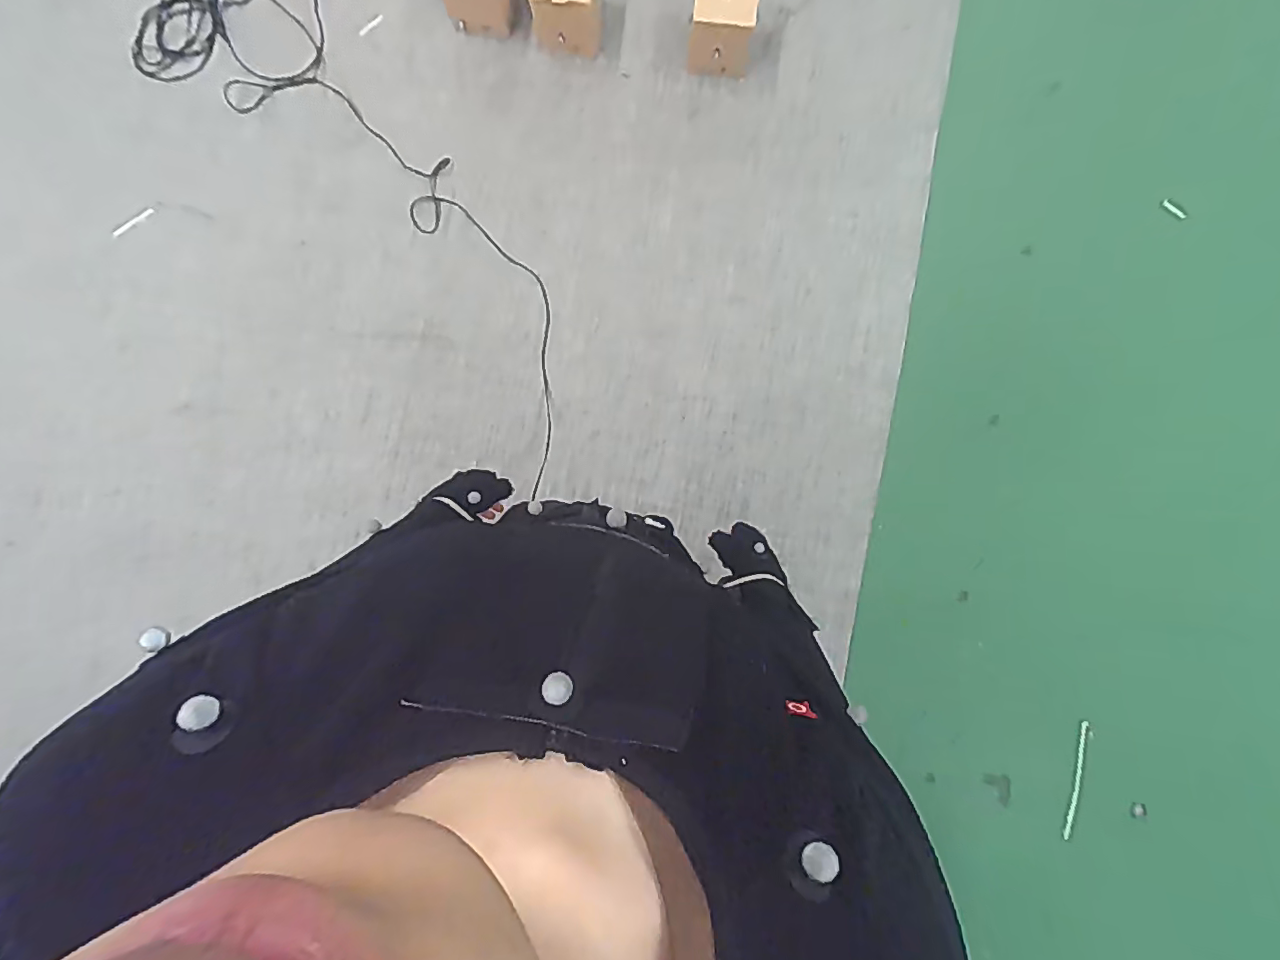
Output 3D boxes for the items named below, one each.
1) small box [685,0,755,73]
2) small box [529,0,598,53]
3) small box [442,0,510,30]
[{"bbox_3d":[0.217,-1.255,1.469,0.168,0.176,0.179,5,88,-1],"label":"small box"},{"bbox_3d":[-0.205,-1.320,1.470,0.168,0.176,0.179,5,89,1],"label":"small box"},{"bbox_3d":[-0.453,-1.382,1.471,0.168,0.176,0.179,8,87,0],"label":"small box"}]
